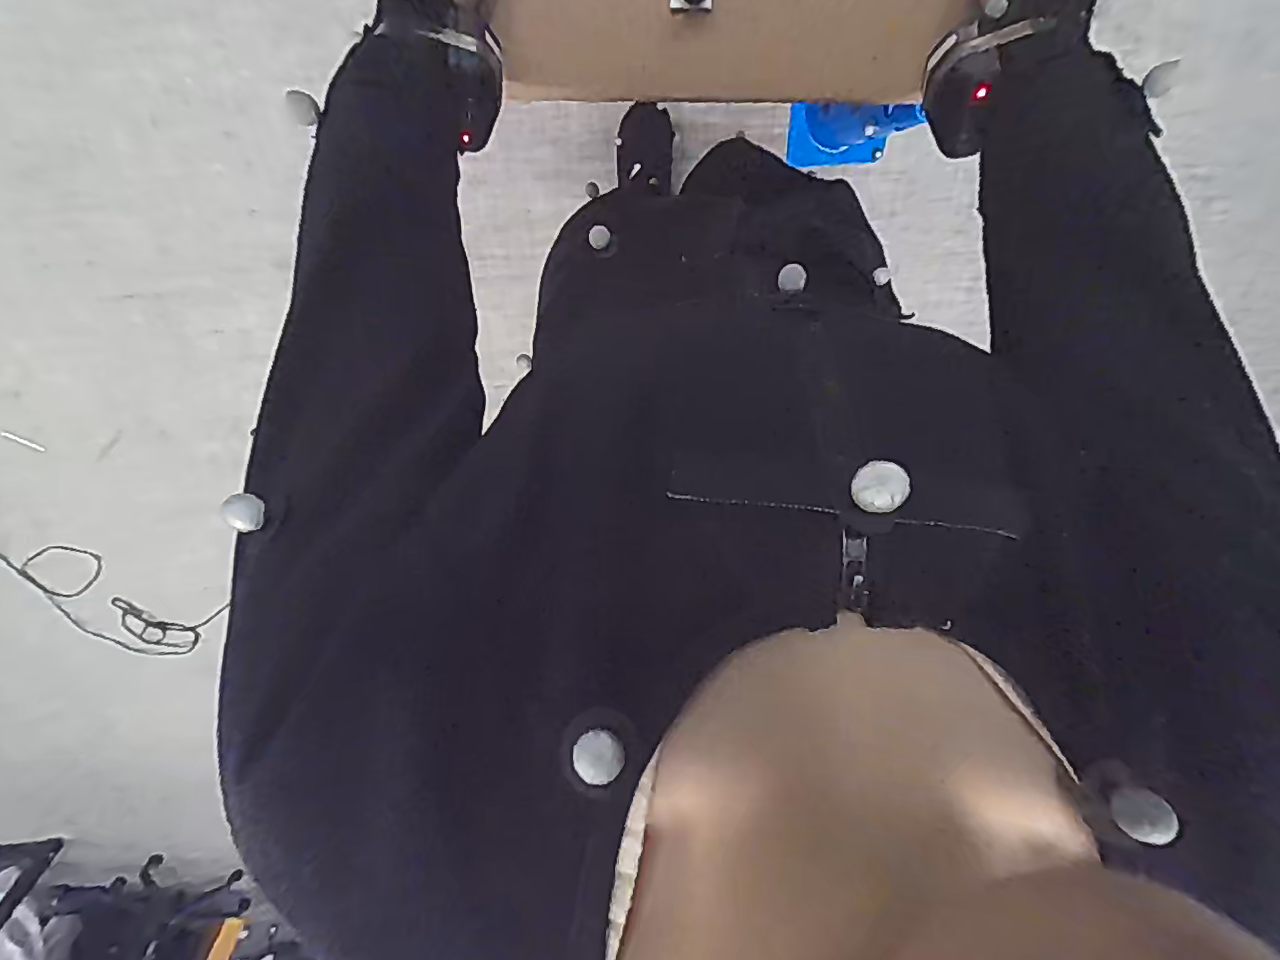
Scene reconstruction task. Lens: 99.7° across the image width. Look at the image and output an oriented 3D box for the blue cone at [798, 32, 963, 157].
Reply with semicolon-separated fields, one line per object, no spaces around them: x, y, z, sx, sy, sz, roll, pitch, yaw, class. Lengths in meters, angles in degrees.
0.407;-0.638;0.894;0.192;0.380;0.193;-3;124;-1;blue cone
